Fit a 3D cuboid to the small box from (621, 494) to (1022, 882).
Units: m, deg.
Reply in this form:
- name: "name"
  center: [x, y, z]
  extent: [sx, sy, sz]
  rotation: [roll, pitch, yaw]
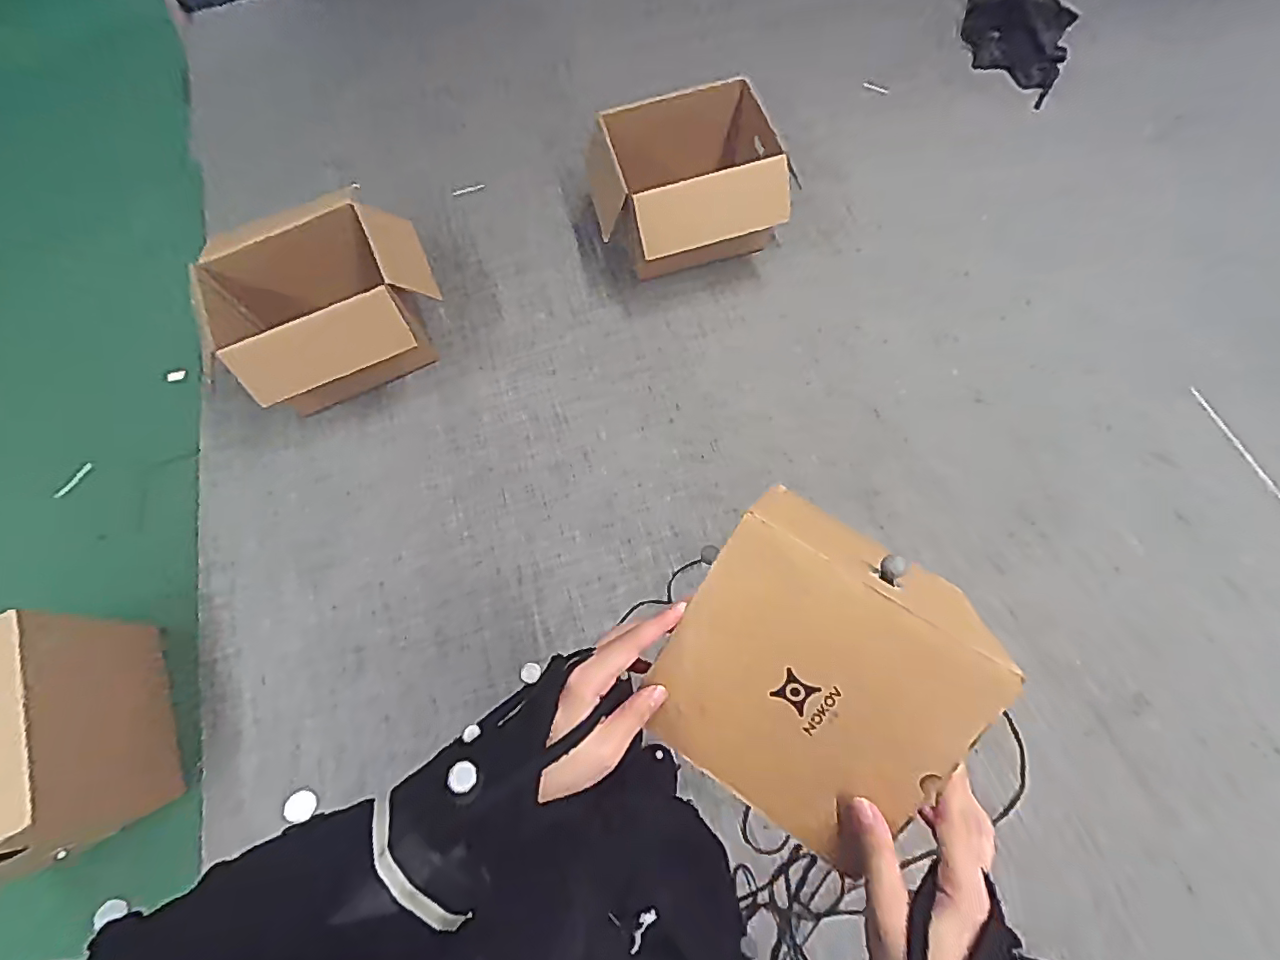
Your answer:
- name: "small box"
  center: [0.119, 0.122, 0.398]
  extent: [0.179, 0.176, 0.168]
  rotation: [32, 104, 13]
